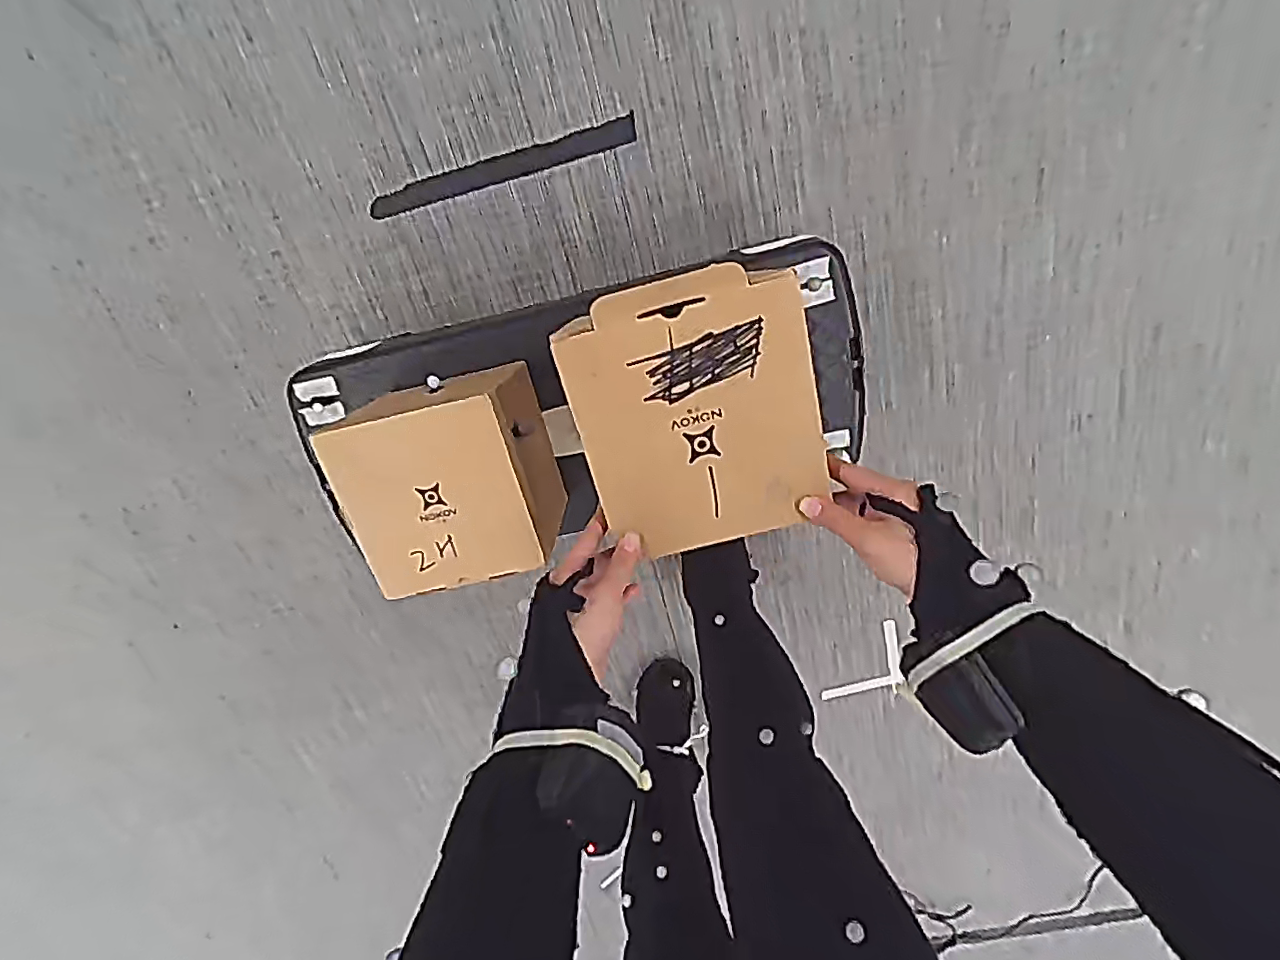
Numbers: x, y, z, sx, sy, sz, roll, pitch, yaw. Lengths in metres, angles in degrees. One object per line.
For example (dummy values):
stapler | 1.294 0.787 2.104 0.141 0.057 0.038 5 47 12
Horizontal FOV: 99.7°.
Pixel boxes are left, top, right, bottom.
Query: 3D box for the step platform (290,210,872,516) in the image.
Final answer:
step platform | -0.064 -0.122 0.707 0.684 0.204 0.286 -13 111 5

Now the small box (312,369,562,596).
small box | -0.188 -0.010 0.562 0.168 0.176 0.179 -12 112 4

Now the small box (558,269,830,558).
small box | 0.040 -0.065 0.452 0.168 0.176 0.179 -14 110 4
